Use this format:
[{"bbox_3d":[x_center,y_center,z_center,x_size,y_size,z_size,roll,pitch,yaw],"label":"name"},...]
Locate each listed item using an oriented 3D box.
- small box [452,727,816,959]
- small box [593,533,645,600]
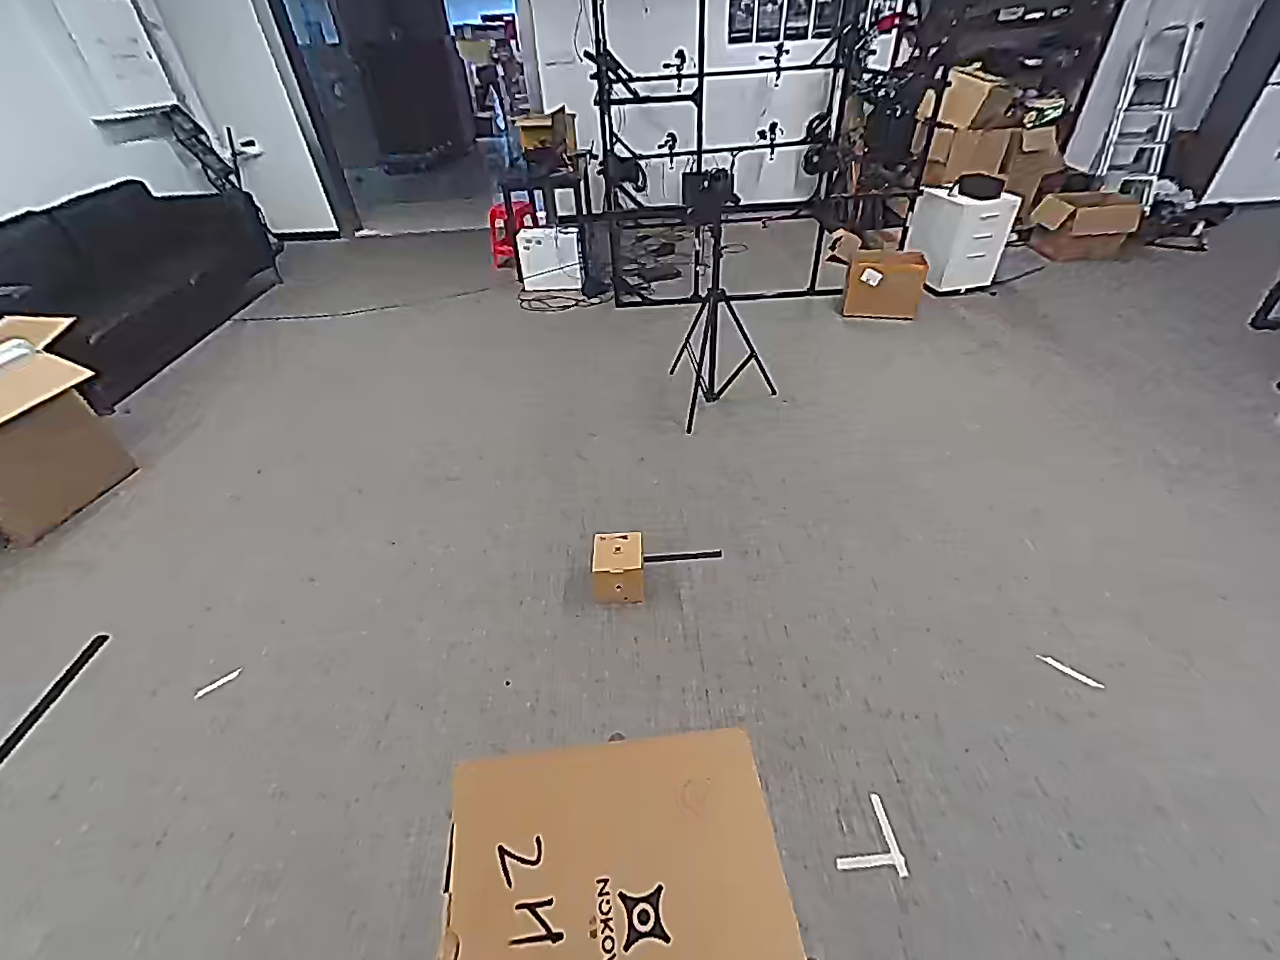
[{"bbox_3d":[-0.014,0.268,0.328,0.179,0.176,0.168,-1,48,-11],"label":"small box"},{"bbox_3d":[-0.069,0.307,1.890,0.168,0.176,0.179,-2,40,2],"label":"small box"}]
